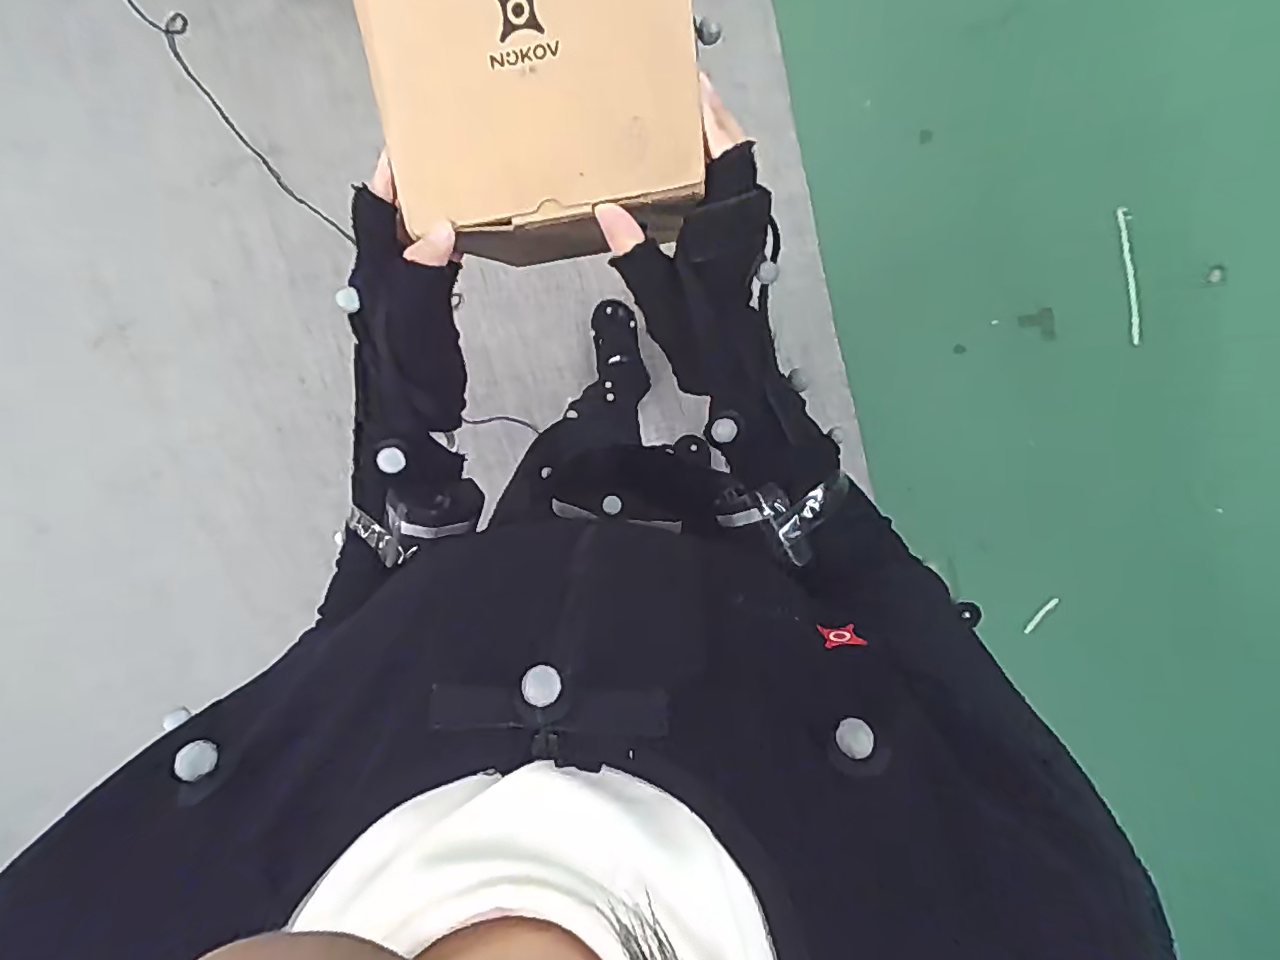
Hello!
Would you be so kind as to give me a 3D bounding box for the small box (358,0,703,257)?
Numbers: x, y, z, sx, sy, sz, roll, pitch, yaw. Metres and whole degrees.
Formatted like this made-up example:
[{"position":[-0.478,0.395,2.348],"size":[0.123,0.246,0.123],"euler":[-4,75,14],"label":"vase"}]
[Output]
[{"position":[-0.050,-0.249,0.347],"size":[0.168,0.176,0.179],"euler":[-5,104,9],"label":"small box"}]
